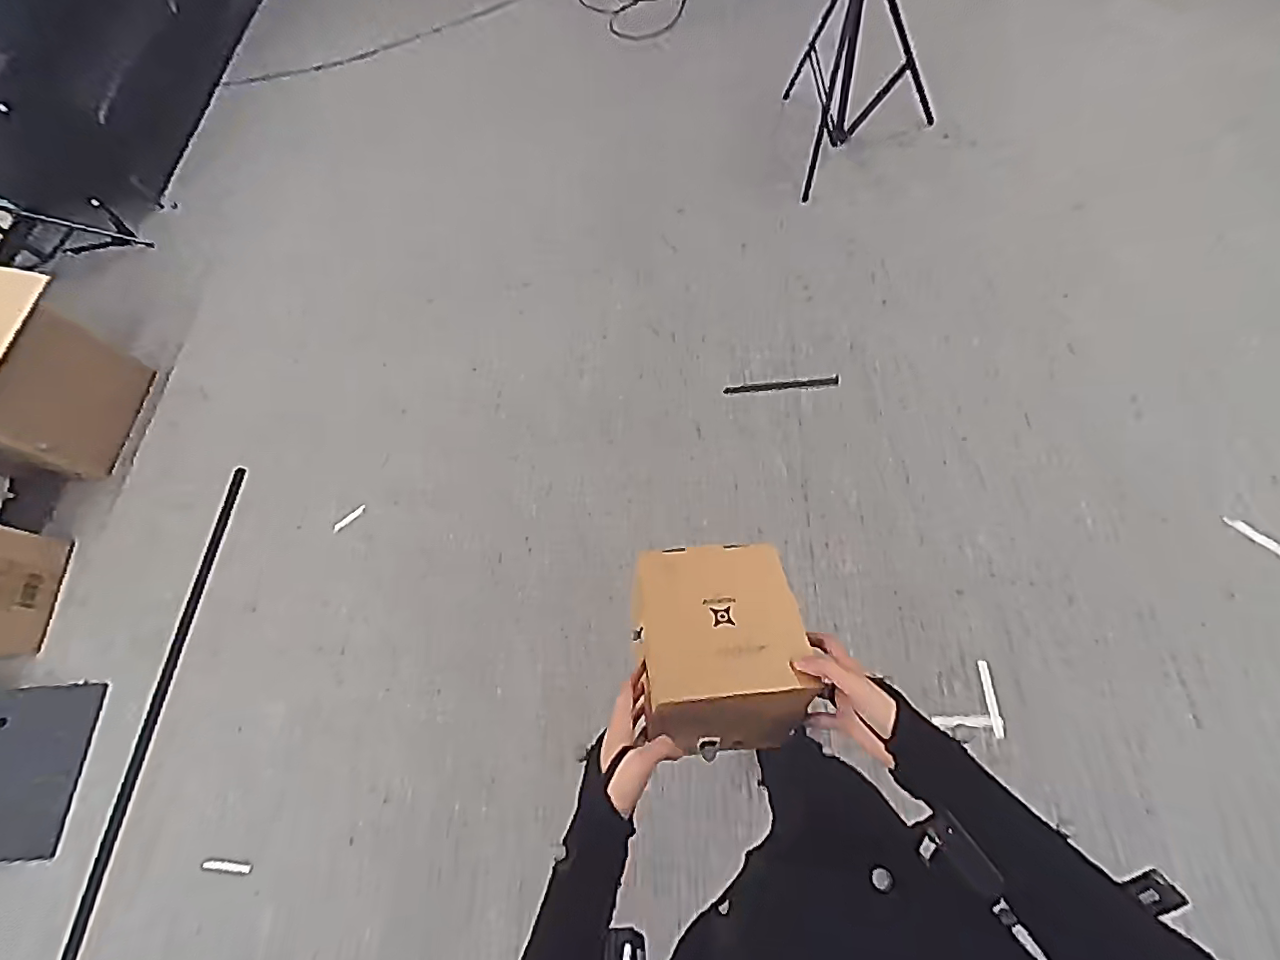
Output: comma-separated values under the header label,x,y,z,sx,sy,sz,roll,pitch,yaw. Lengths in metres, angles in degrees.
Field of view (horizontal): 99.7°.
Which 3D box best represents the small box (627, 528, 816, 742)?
label,x,y,z,sx,sy,sz,roll,pitch,yaw
small box,0.076,0.178,0.626,0.168,0.176,0.179,-3,45,-7
